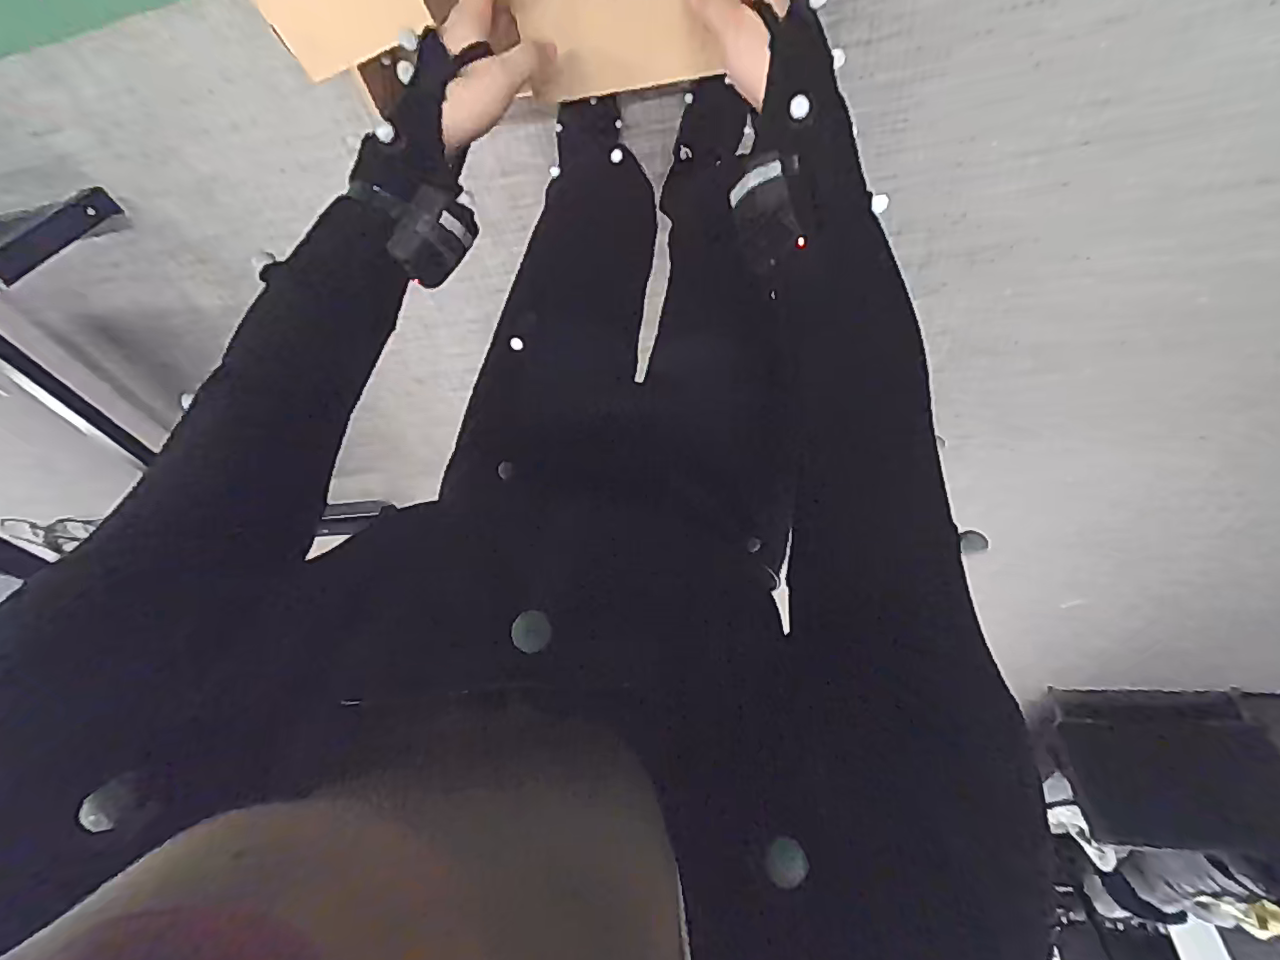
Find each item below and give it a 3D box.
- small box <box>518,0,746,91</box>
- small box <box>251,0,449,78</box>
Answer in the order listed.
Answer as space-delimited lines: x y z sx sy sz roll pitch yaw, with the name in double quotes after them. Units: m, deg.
-0.013 -0.450 0.433 0.179 0.176 0.168 -6 144 5 "small box"
-0.321 -0.578 0.581 0.179 0.176 0.168 -10 141 15 "small box"
